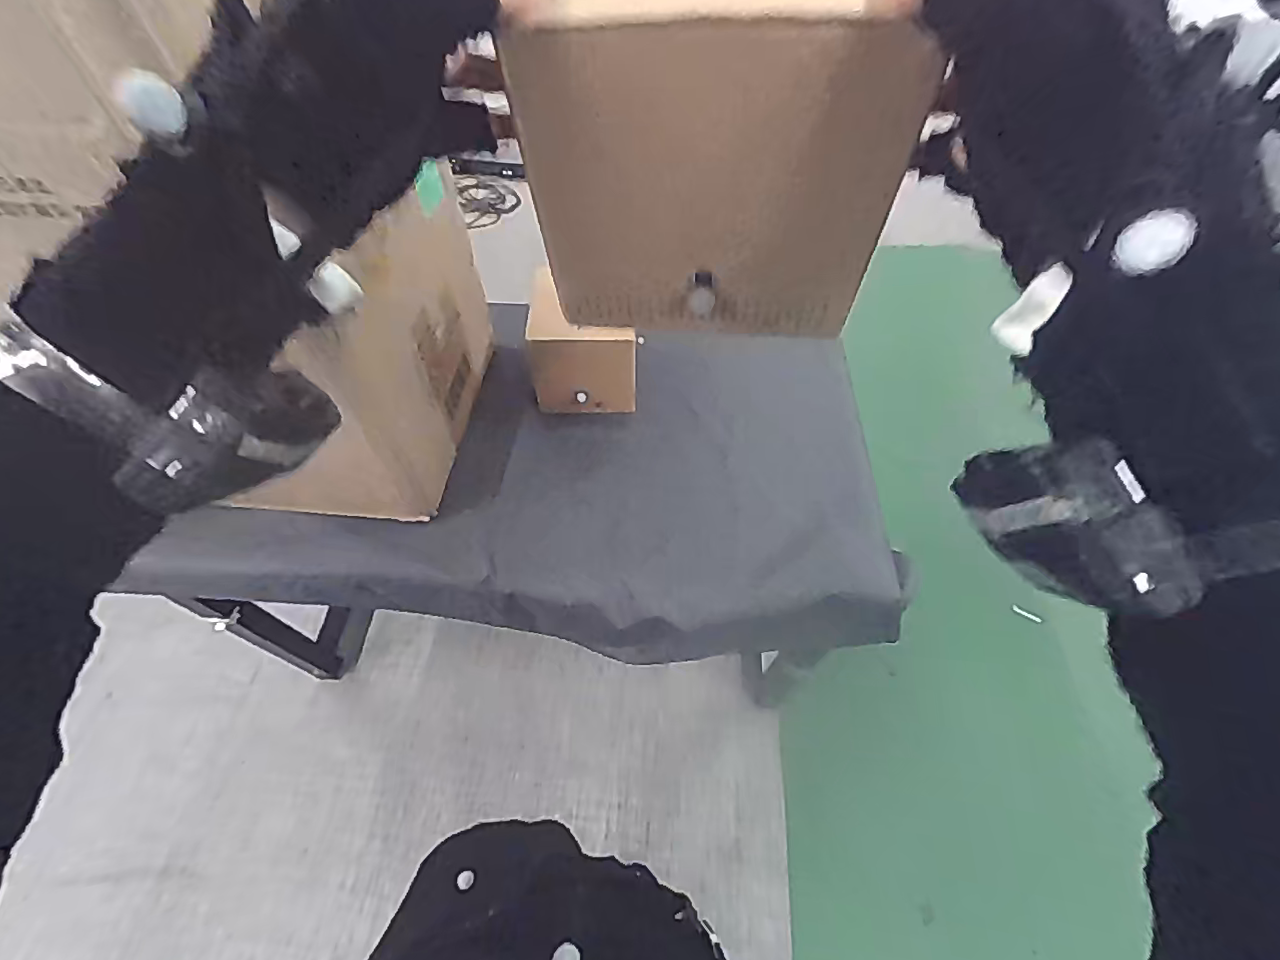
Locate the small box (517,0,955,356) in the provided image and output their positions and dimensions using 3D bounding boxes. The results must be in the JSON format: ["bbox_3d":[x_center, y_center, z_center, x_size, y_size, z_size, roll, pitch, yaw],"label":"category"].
[{"bbox_3d":[0.047,-0.192,0.319,0.179,0.176,0.168,5,63,5],"label":"small box"}]
